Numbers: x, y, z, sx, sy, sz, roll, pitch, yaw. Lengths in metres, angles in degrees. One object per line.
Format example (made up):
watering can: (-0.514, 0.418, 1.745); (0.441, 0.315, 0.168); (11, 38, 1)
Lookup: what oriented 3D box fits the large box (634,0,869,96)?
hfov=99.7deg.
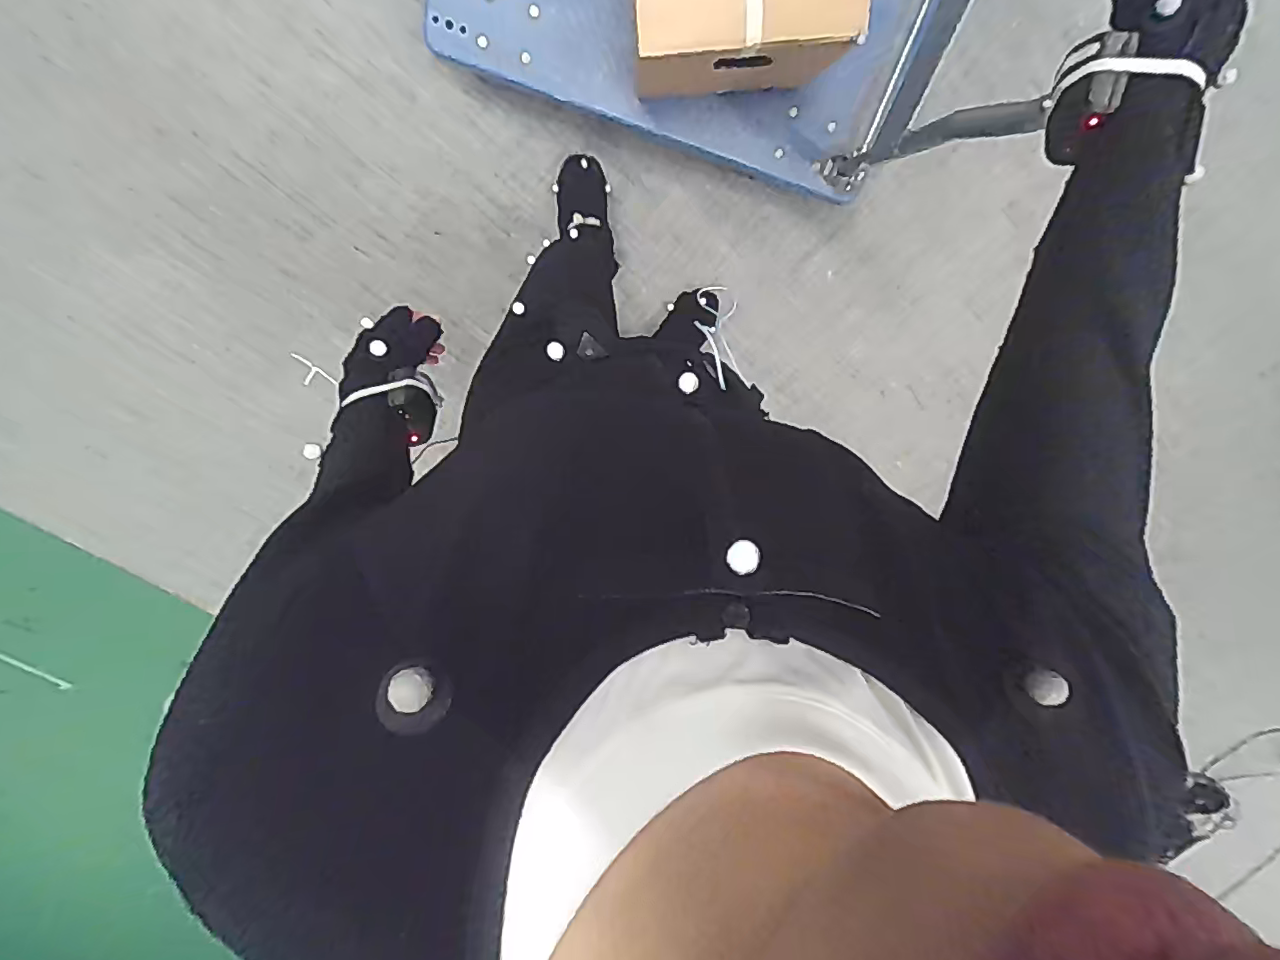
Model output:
large box: (0.138, -0.840, 0.790); (0.320, 0.320, 0.408); (-4, 117, 2)
